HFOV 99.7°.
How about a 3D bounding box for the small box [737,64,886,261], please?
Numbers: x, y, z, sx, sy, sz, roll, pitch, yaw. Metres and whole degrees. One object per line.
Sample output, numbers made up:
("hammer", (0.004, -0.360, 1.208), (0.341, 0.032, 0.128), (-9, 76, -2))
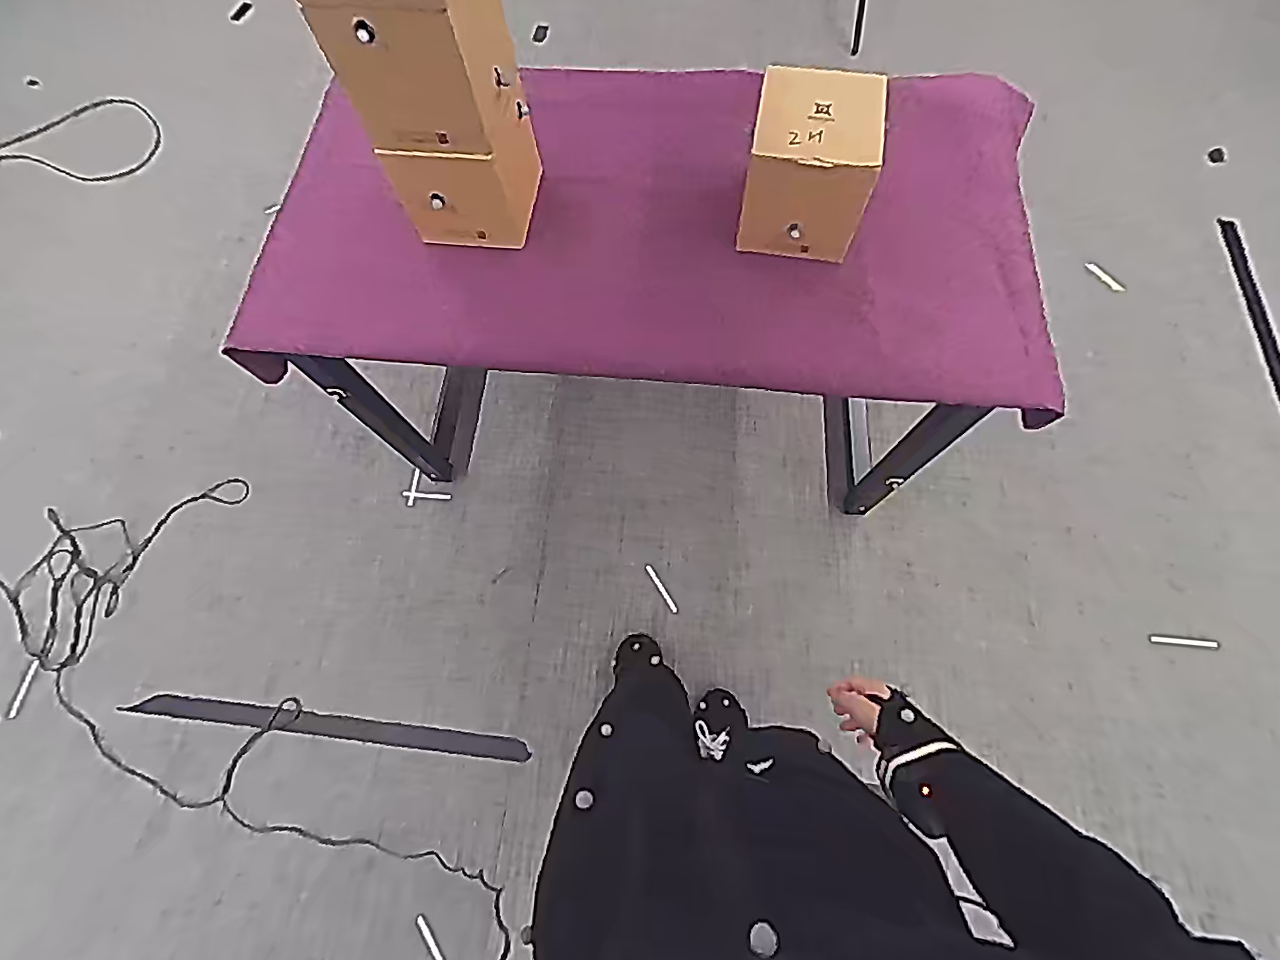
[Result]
("small box", (0.241, -0.456, 0.790), (0.168, 0.176, 0.179), (10, 71, 6))

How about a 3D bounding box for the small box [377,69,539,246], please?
("small box", (-0.260, -0.483, 0.820), (0.168, 0.176, 0.179), (6, 70, 4))

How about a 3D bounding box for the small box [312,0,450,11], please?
("small box", (-0.268, -0.598, 0.512), (0.168, 0.176, 0.179), (6, 71, 4))

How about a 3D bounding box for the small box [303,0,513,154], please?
("small box", (-0.266, -0.545, 0.668), (0.168, 0.176, 0.179), (5, 70, 4))
